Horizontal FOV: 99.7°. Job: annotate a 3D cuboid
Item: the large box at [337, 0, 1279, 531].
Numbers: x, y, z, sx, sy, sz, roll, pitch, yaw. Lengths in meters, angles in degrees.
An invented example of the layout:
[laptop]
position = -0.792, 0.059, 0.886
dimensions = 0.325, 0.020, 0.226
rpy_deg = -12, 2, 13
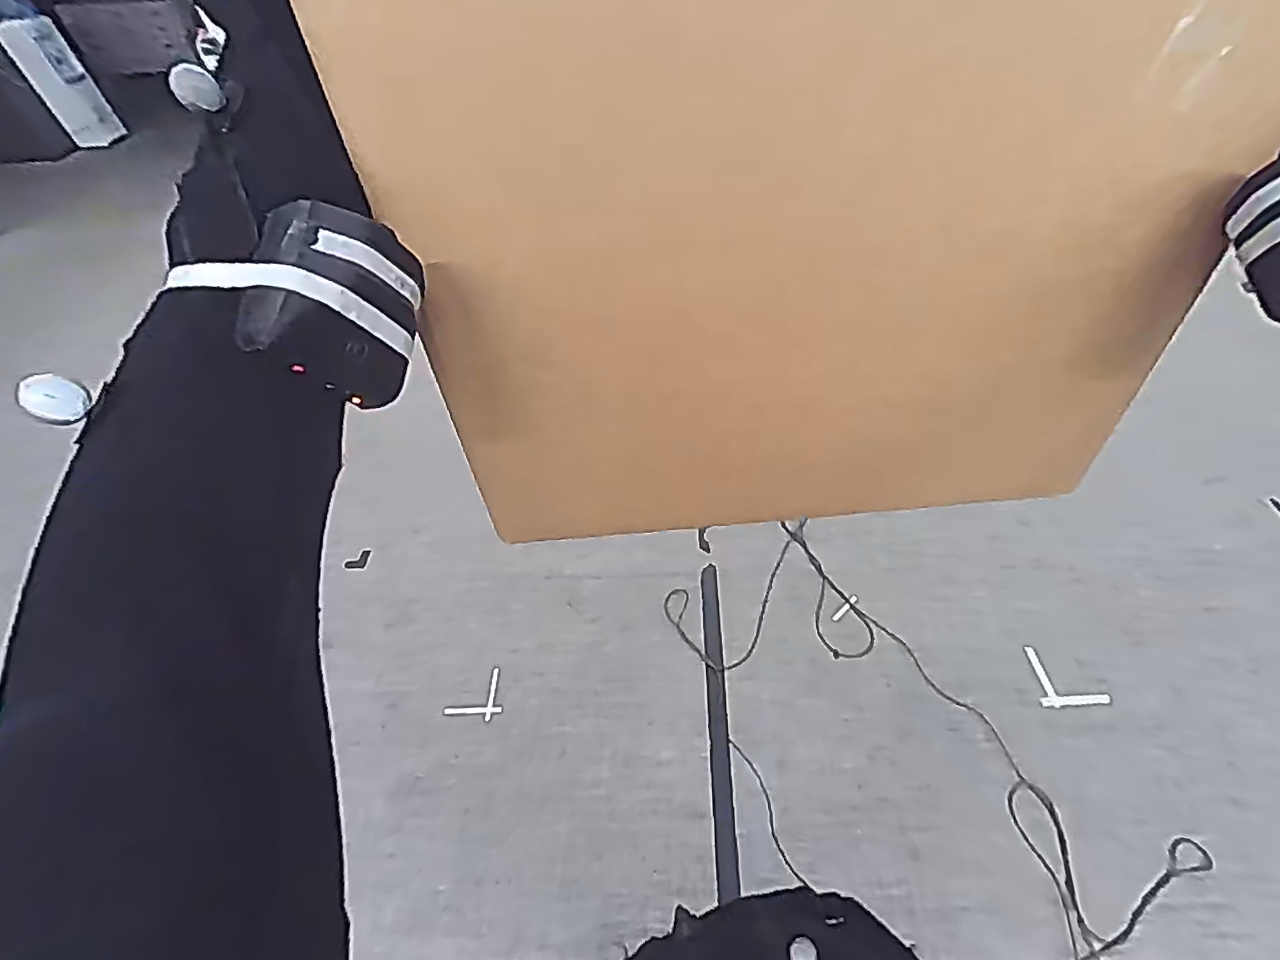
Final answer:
[large box]
position = 0.080, -0.189, 0.401
dimensions = 0.408, 0.320, 0.320
rpy_deg = -5, 42, 0
